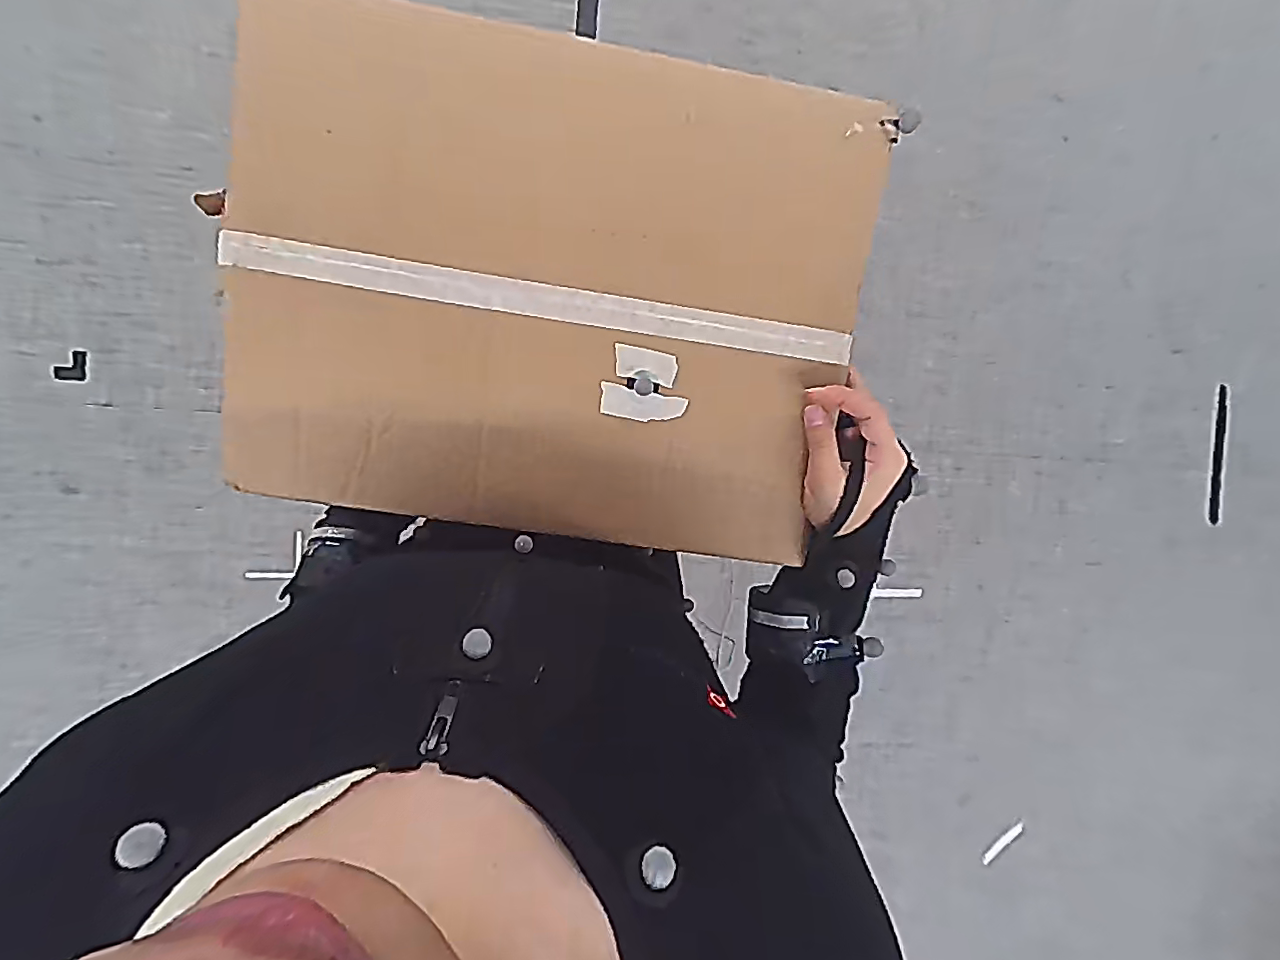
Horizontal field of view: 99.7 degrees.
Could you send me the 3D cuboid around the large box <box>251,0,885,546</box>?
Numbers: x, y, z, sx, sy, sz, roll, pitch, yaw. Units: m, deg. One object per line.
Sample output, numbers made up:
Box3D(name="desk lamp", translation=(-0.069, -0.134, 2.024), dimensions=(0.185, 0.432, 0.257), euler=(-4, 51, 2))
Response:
Box3D(name="large box", translation=(-0.063, -0.145, 0.511), dimensions=(0.408, 0.320, 0.320), euler=(7, 100, -6))
